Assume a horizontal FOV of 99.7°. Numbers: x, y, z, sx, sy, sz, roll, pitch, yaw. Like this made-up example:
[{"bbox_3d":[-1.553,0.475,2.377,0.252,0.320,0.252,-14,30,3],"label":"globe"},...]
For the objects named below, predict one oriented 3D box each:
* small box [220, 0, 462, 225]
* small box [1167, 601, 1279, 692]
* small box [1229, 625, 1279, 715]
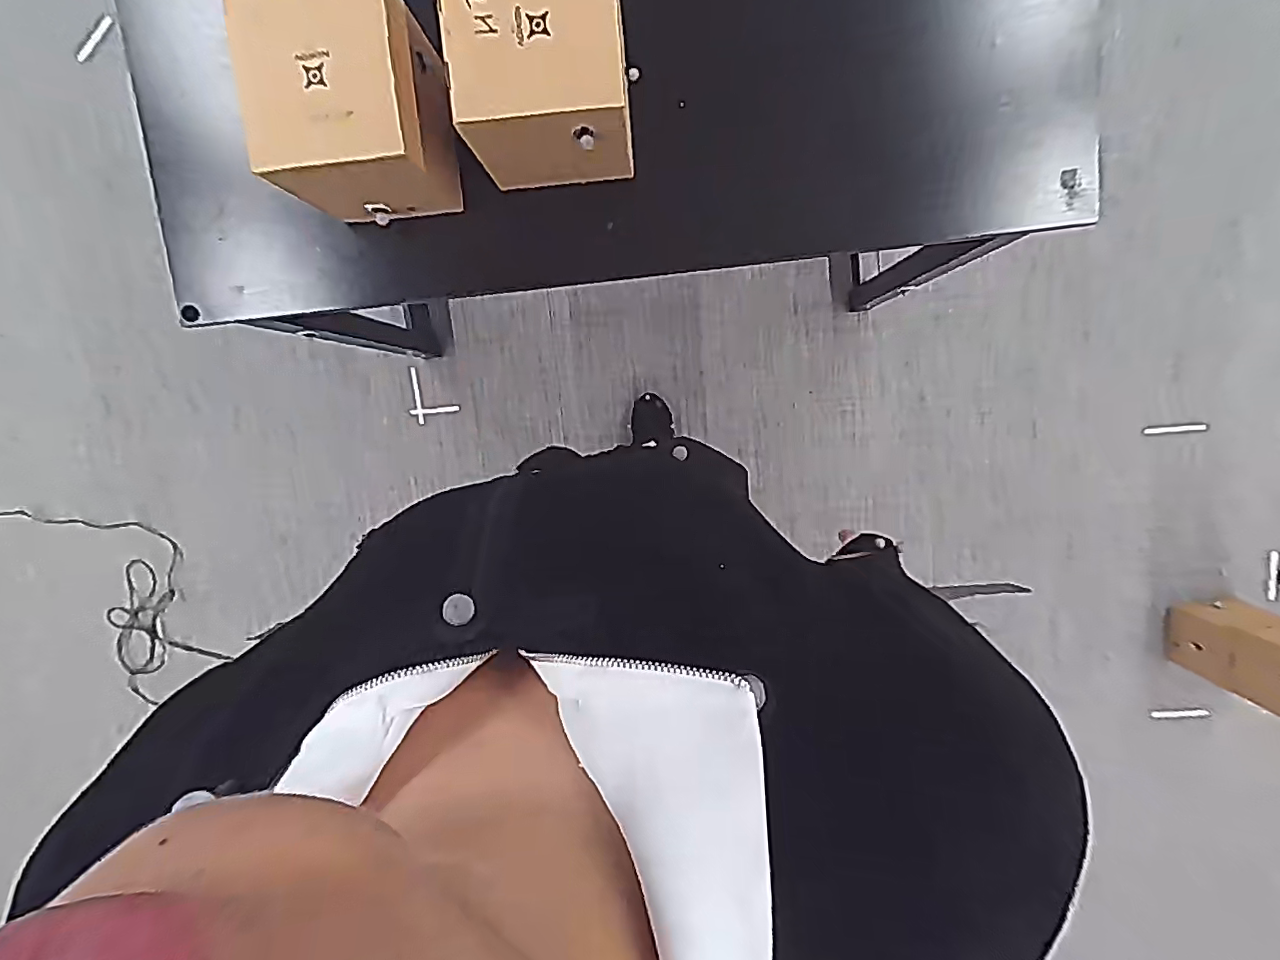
[{"bbox_3d":[-0.320,-0.414,0.613,0.168,0.176,0.179,-5,98,4],"label":"small box"},{"bbox_3d":[1.521,0.423,1.396,0.179,0.176,0.168,-7,98,4],"label":"small box"},{"bbox_3d":[1.510,0.441,1.231,0.168,0.176,0.179,-7,99,3],"label":"small box"}]
